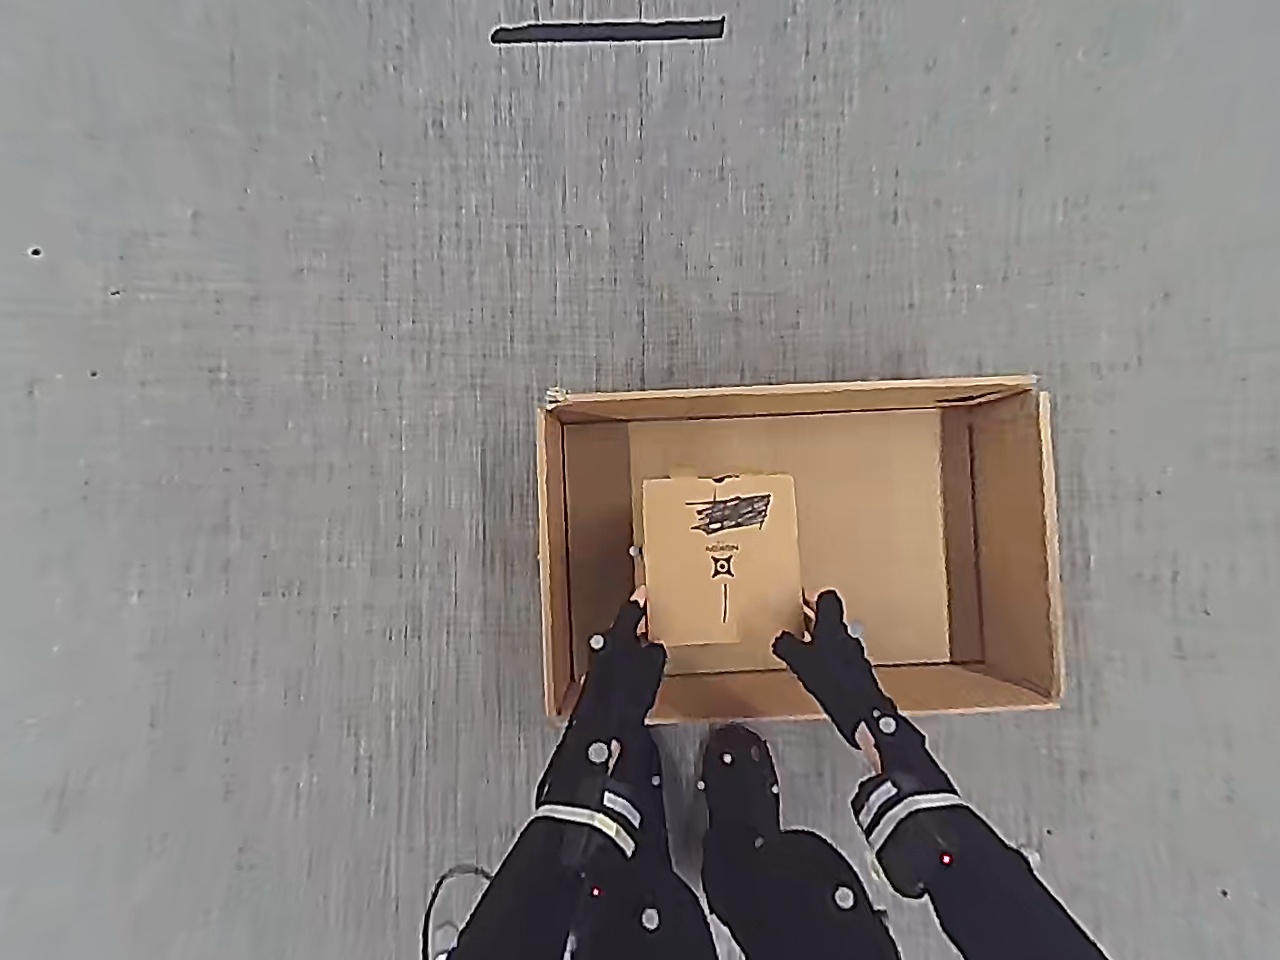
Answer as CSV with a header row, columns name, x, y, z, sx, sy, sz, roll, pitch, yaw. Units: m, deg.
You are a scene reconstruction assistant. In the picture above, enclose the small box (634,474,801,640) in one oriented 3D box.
name,x,y,z,sx,sy,sz,roll,pitch,yaw
small box,0.080,0.094,0.654,0.168,0.176,0.179,-1,80,-4
